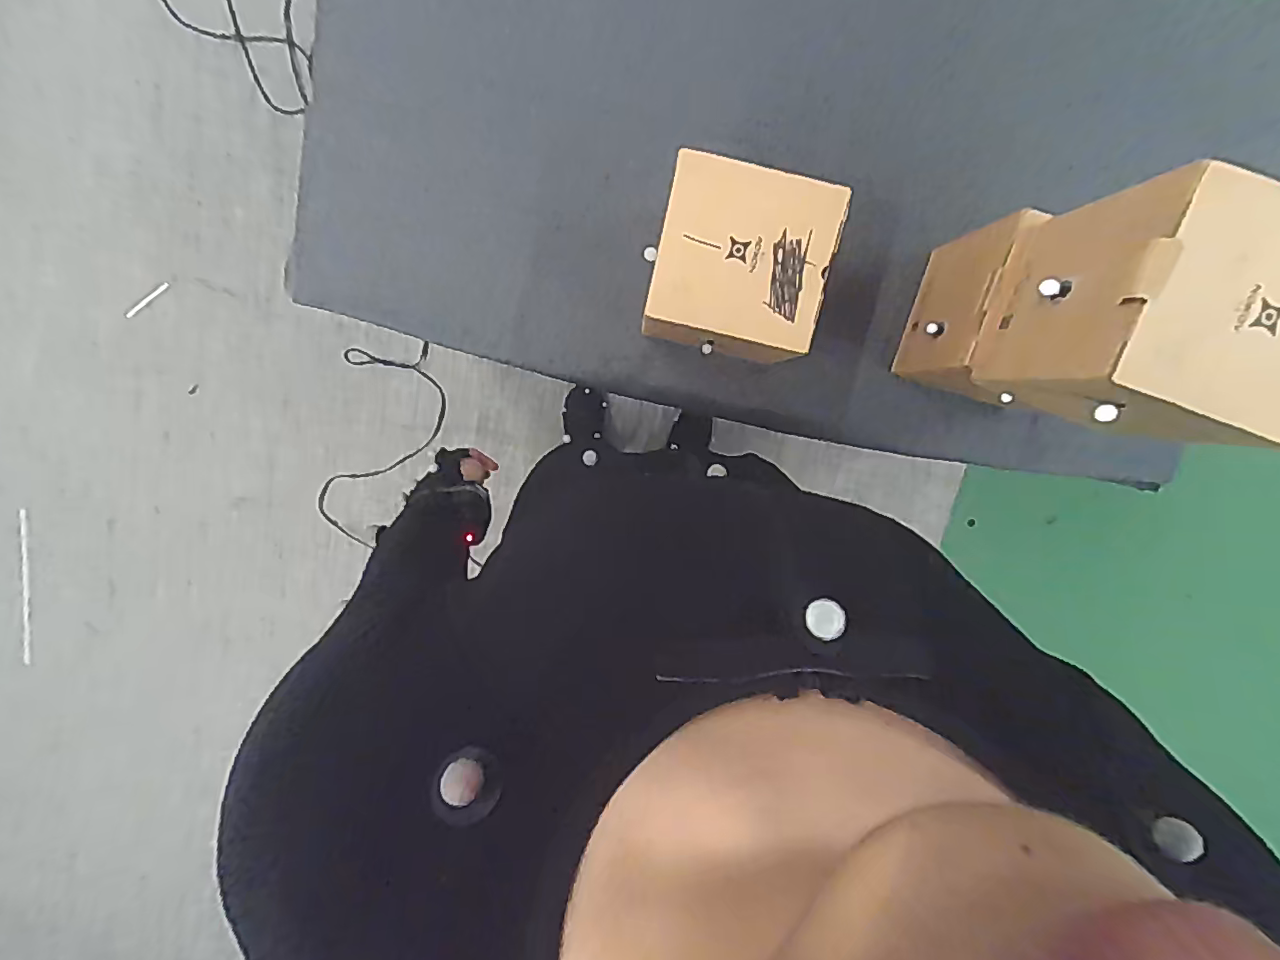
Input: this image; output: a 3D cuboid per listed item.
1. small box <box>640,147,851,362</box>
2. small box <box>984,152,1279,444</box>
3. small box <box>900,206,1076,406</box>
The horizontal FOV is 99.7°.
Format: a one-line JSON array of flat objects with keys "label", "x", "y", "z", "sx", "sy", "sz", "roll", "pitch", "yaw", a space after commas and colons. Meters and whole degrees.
[{"label": "small box", "x": 0.102, "y": -0.234, "z": 0.609, "sx": 0.179, "sy": 0.176, "sz": 0.168, "roll": 13, "pitch": 98, "yaw": -1}, {"label": "small box", "x": 0.447, "y": -0.136, "z": 0.465, "sx": 0.179, "sy": 0.176, "sz": 0.168, "roll": 18, "pitch": 99, "yaw": -3}, {"label": "small box", "x": 0.438, "y": -0.183, "z": 0.623, "sx": 0.179, "sy": 0.176, "sz": 0.168, "roll": 15, "pitch": 100, "yaw": -4}]
